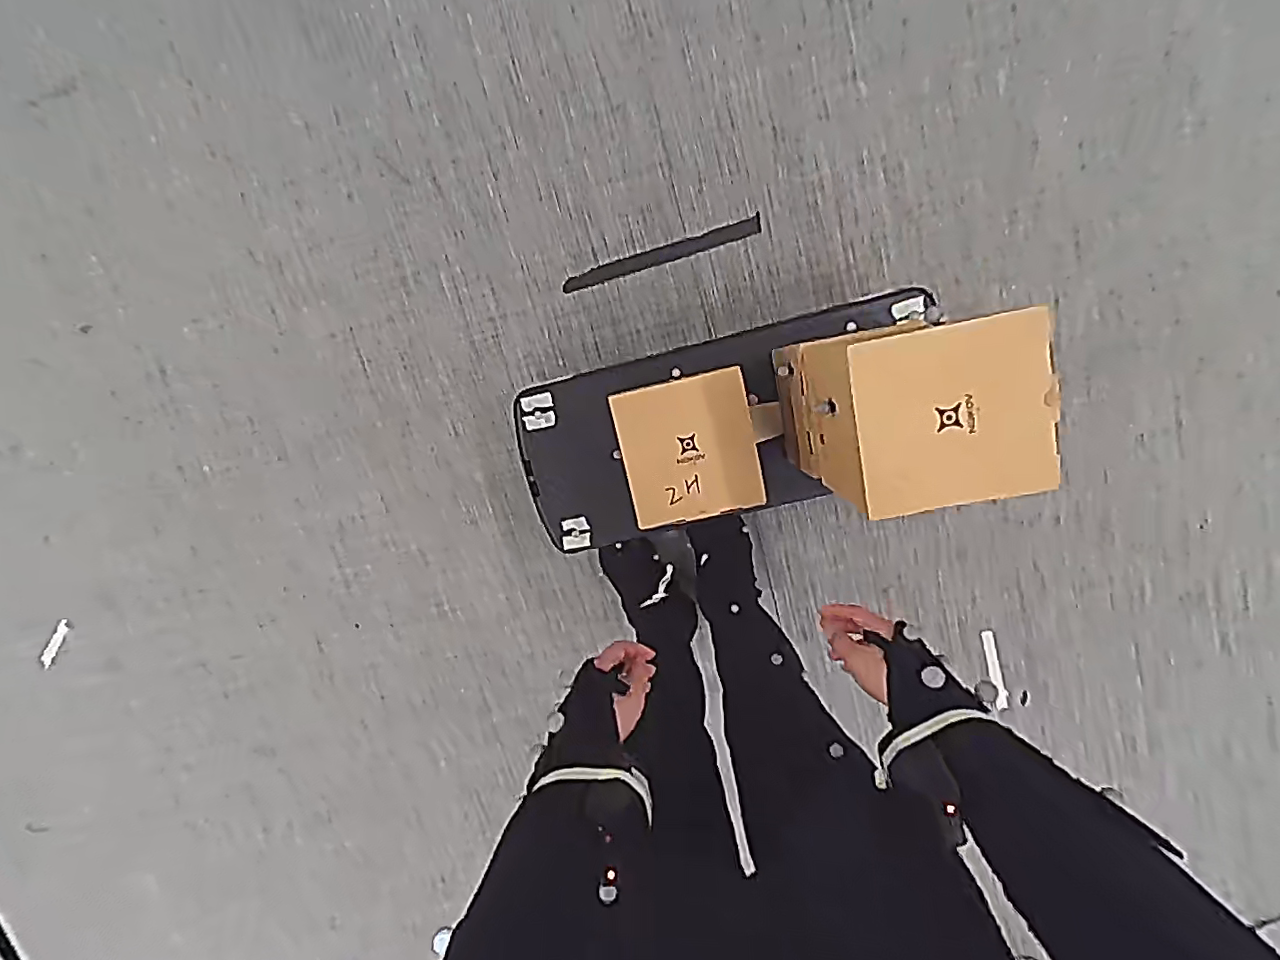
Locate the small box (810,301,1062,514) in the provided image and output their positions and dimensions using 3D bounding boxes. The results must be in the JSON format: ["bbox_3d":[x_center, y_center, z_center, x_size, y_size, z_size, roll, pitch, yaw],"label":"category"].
[{"bbox_3d":[0.285,-0.074,0.560,0.179,0.176,0.168,-11,100,5],"label":"small box"}]

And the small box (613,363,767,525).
[{"bbox_3d":[0.066,-0.054,0.743,0.168,0.176,0.179,-12,100,6],"label":"small box"}]

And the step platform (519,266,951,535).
[{"bbox_3d":[0.152,-0.123,0.902,0.684,0.204,0.286,-14,100,7],"label":"step platform"}]
